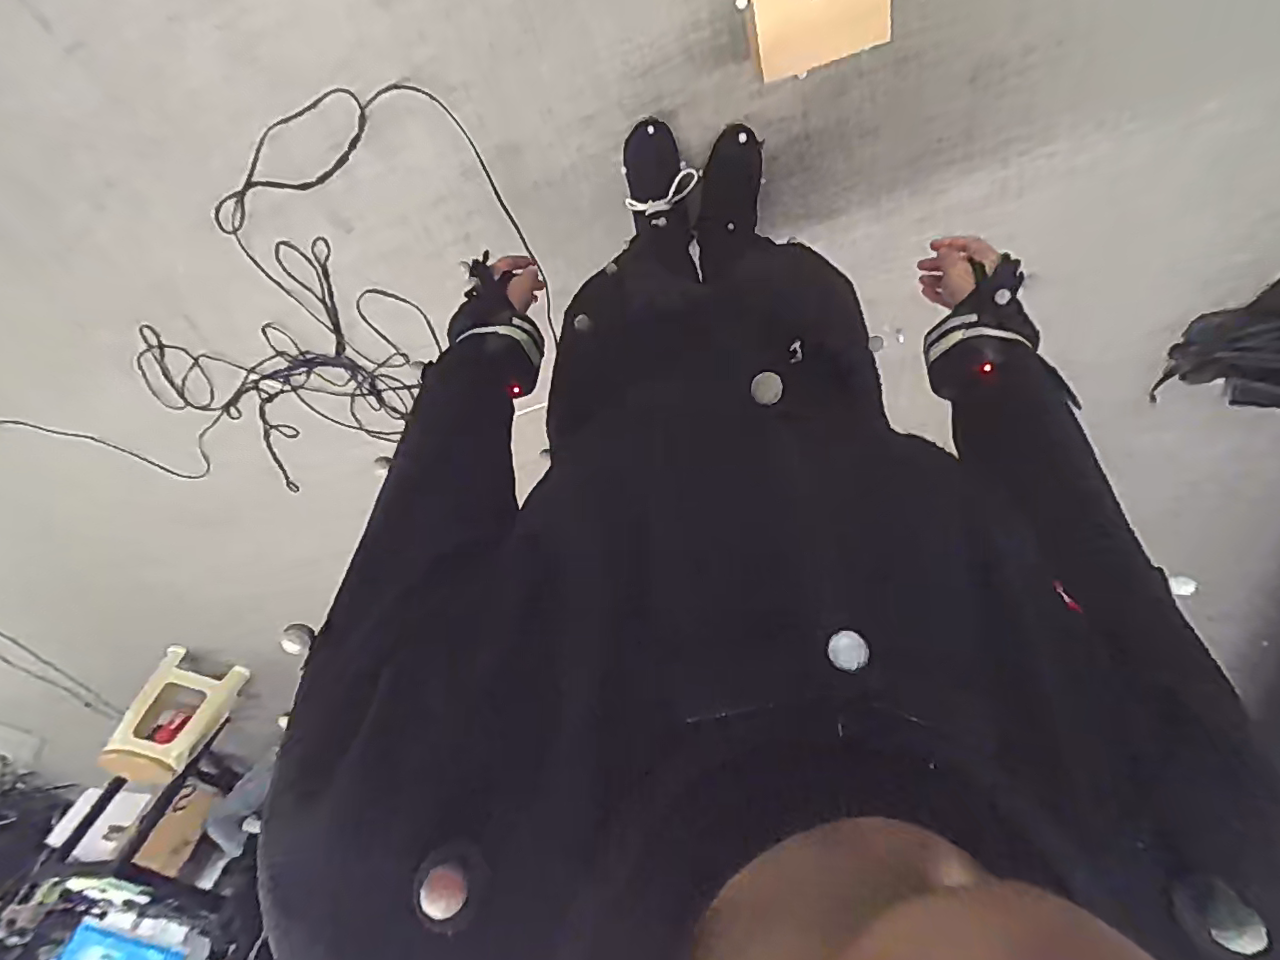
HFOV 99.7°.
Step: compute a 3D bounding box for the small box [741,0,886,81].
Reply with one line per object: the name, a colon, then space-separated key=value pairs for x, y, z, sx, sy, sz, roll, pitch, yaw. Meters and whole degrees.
small box: x=0.223 y=-0.673 z=0.725 sx=0.168 sy=0.176 sz=0.179 roll=-11 pitch=128 yaw=15
